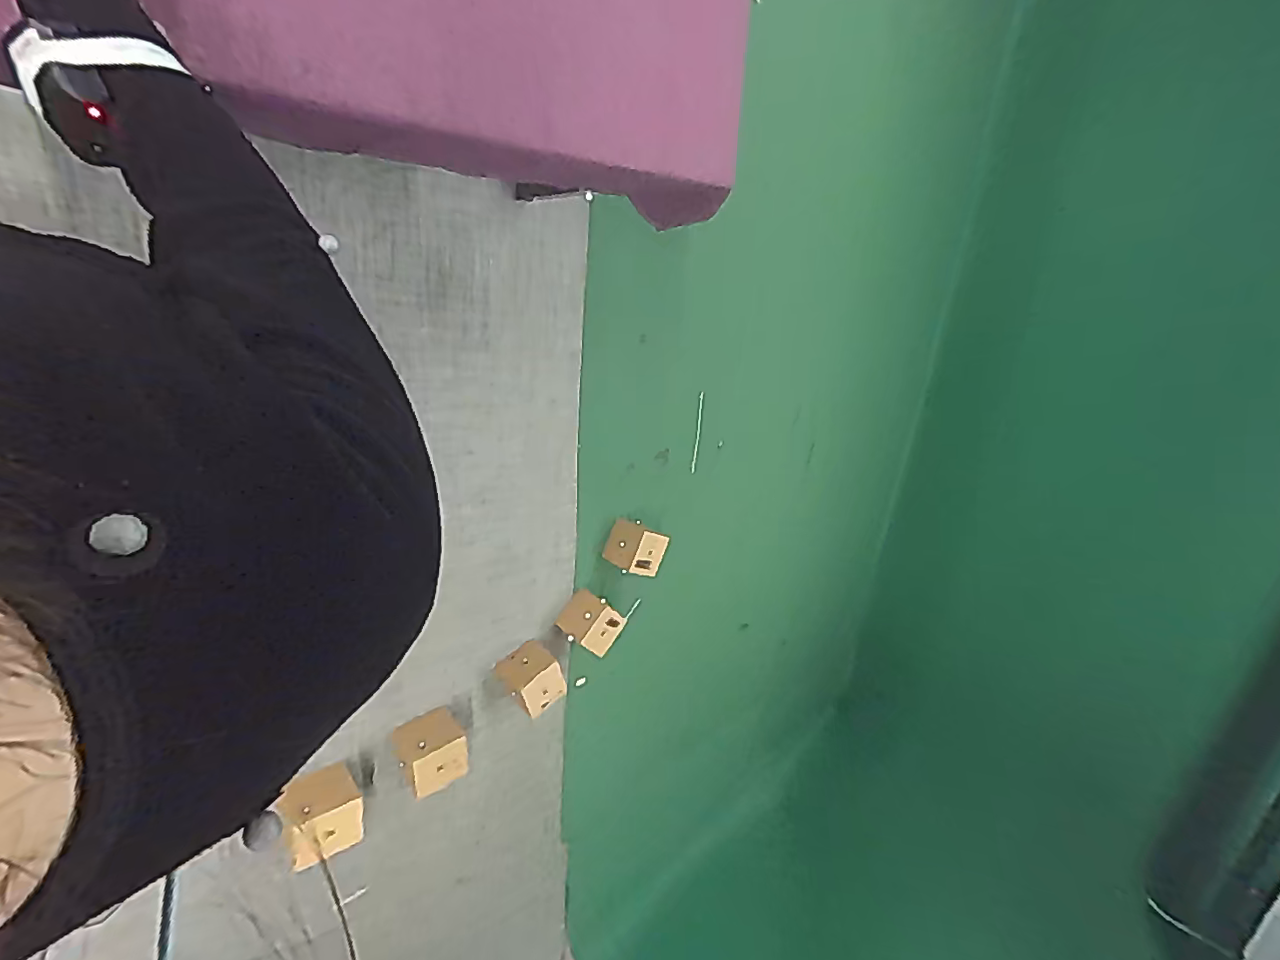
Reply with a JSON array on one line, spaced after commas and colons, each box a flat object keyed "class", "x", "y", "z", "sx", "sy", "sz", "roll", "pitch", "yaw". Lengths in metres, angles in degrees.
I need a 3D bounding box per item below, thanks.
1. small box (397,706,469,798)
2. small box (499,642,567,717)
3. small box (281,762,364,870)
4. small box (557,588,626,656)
[{"class": "small box", "x": -0.689, "y": 0.893, "z": 1.790, "sx": 0.179, "sy": 0.176, "sz": 0.168, "roll": -15, "pitch": 118, "yaw": -40}, {"class": "small box", "x": -0.400, "y": 0.733, "z": 2.012, "sx": 0.168, "sy": 0.176, "sz": 0.179, "roll": -32, "pitch": 127, "yaw": -32}, {"class": "small box", "x": -0.932, "y": 0.974, "z": 1.587, "sx": 0.179, "sy": 0.176, "sz": 0.168, "roll": -8, "pitch": 112, "yaw": -42}, {"class": "small box", "x": -0.195, "y": 0.558, "z": 2.143, "sx": 0.179, "sy": 0.176, "sz": 0.168, "roll": -53, "pitch": 136, "yaw": -13}]
